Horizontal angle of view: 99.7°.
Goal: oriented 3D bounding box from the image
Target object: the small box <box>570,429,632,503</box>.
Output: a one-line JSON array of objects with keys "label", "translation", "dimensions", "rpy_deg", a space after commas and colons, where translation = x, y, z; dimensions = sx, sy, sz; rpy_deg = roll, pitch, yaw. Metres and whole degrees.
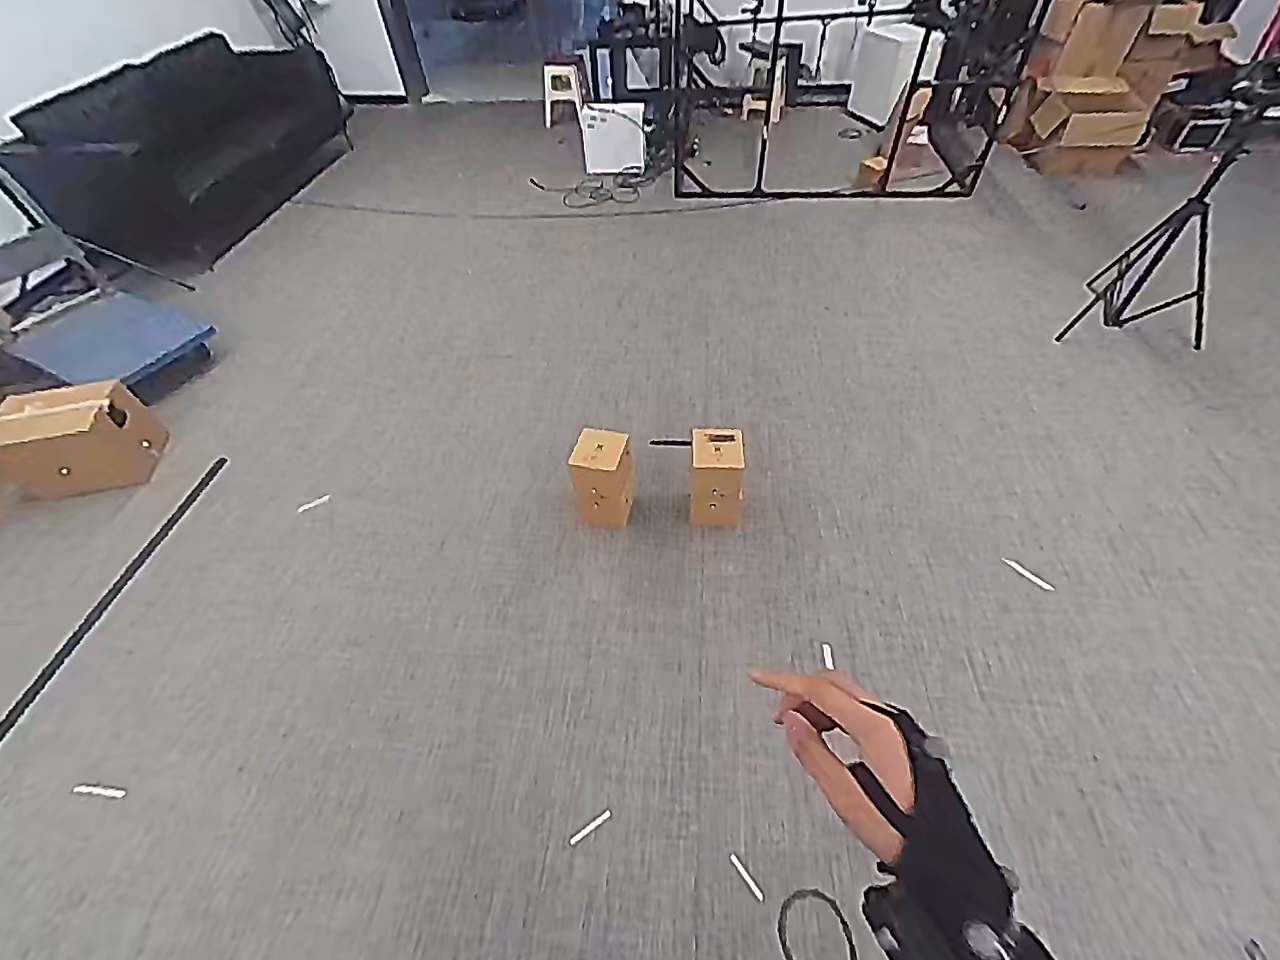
[{"label": "small box", "translation": [-0.127, -0.050, 1.869], "dimensions": [0.168, 0.176, 0.179], "rpy_deg": [9, 51, 12]}]

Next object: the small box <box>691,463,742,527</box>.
[{"label": "small box", "translation": [0.276, 0.057, 1.971], "dimensions": [0.179, 0.176, 0.168], "rpy_deg": [2, 50, 4]}]

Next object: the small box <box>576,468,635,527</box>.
[{"label": "small box", "translation": [-0.120, 0.056, 1.996], "dimensions": [0.179, 0.176, 0.168], "rpy_deg": [8, 51, 11]}]
